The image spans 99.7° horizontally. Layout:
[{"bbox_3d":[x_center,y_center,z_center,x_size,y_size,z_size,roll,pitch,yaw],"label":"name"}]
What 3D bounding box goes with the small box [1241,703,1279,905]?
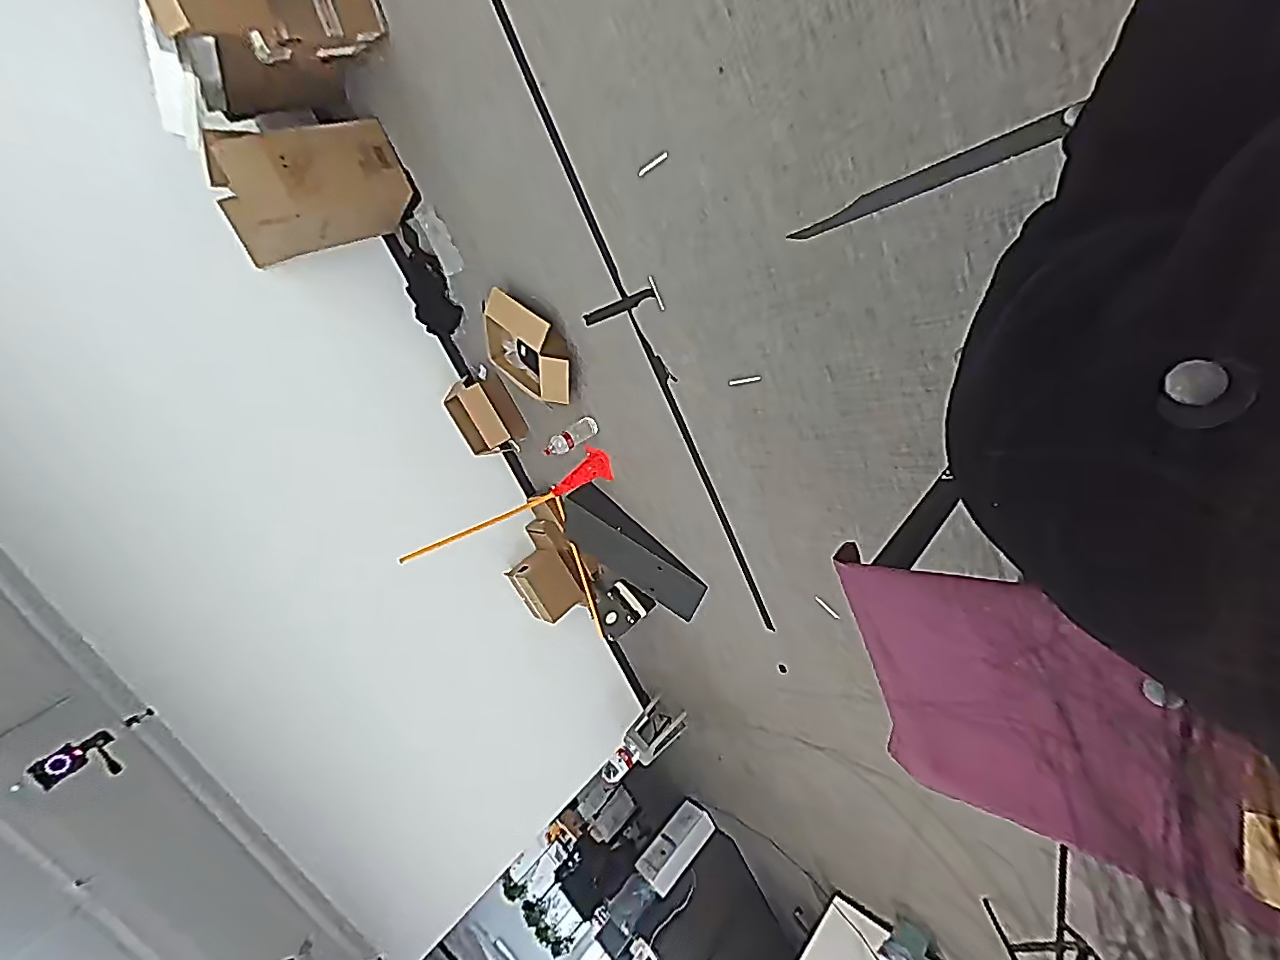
[{"bbox_3d":[0.824,0.400,0.621,0.168,0.176,0.179,3,124,51],"label":"small box"}]
